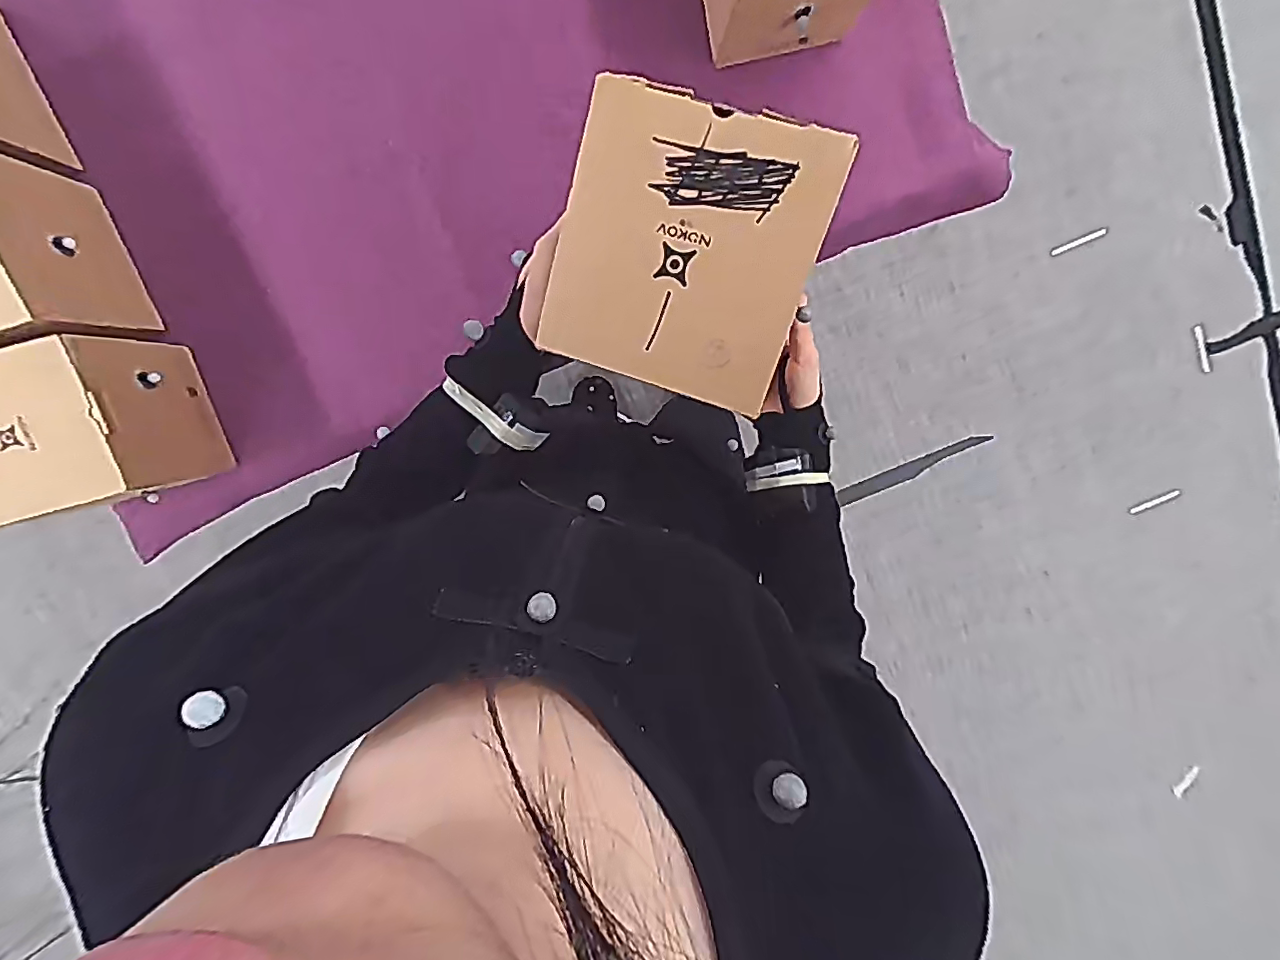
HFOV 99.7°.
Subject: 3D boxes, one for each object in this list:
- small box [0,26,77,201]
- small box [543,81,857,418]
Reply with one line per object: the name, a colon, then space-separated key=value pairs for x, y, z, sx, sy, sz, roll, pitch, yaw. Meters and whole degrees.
small box: x=-0.751 y=-0.399 z=0.539 sx=0.168 sy=0.176 sz=0.179 roll=-19 pitch=103 yaw=0
small box: x=0.046 y=-0.163 z=0.429 sx=0.168 sy=0.176 sz=0.179 roll=19 pitch=105 yaw=8
